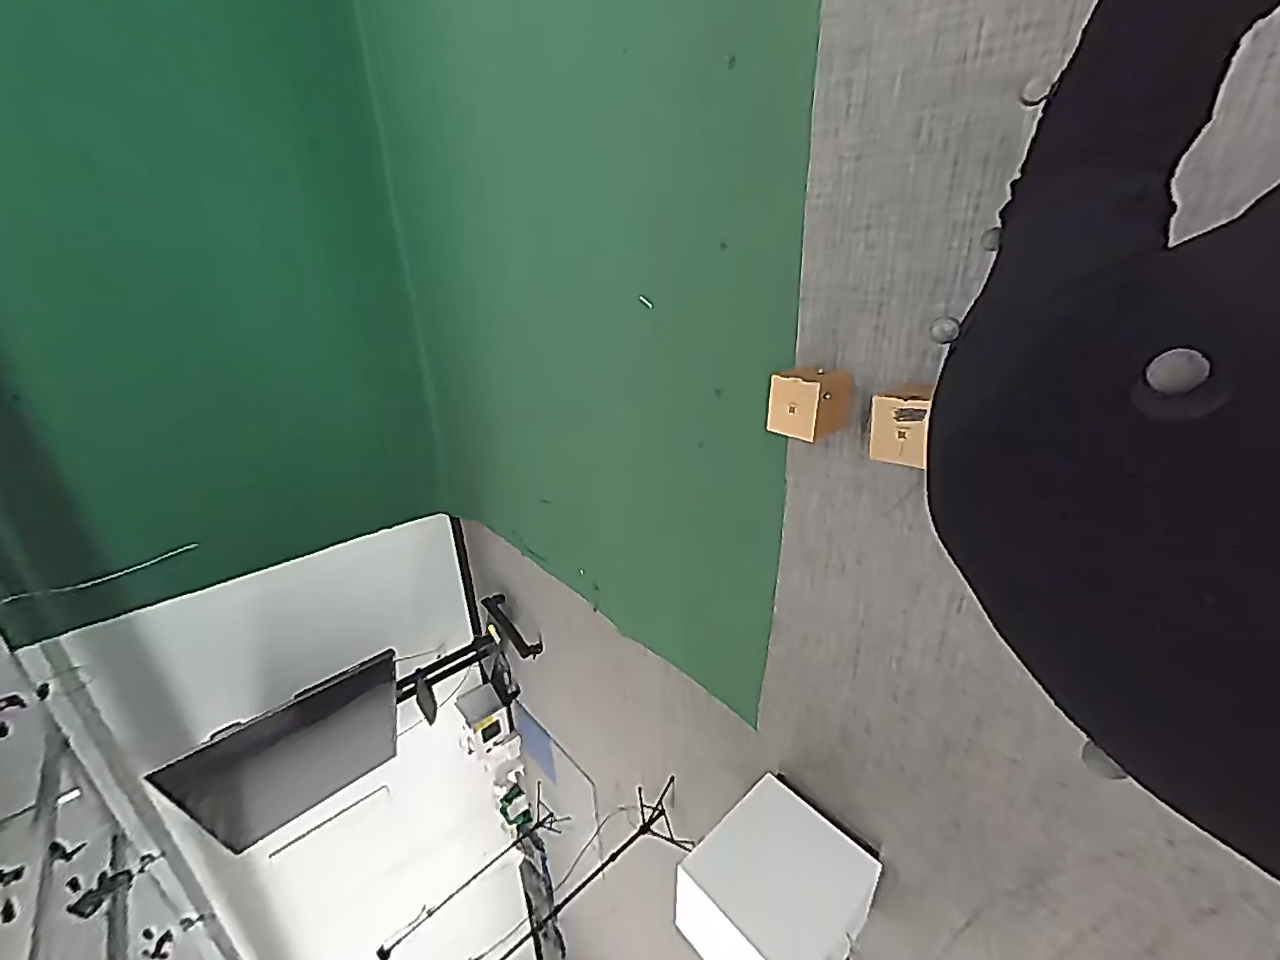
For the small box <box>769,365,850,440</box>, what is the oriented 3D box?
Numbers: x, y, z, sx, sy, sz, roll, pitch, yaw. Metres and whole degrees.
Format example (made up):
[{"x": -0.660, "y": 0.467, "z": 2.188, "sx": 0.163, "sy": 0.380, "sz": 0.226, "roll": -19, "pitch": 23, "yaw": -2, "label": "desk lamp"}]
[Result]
[{"x": 0.509, "y": -0.238, "z": 1.624, "sx": 0.168, "sy": 0.176, "sz": 0.179, "roll": 23, "pitch": 123, "yaw": 43, "label": "small box"}]

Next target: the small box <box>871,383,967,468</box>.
[{"x": 0.723, "y": -0.149, "z": 1.398, "sx": 0.168, "sy": 0.176, "sz": 0.179, "roll": 17, "pitch": 120, "yaw": 46, "label": "small box"}]
